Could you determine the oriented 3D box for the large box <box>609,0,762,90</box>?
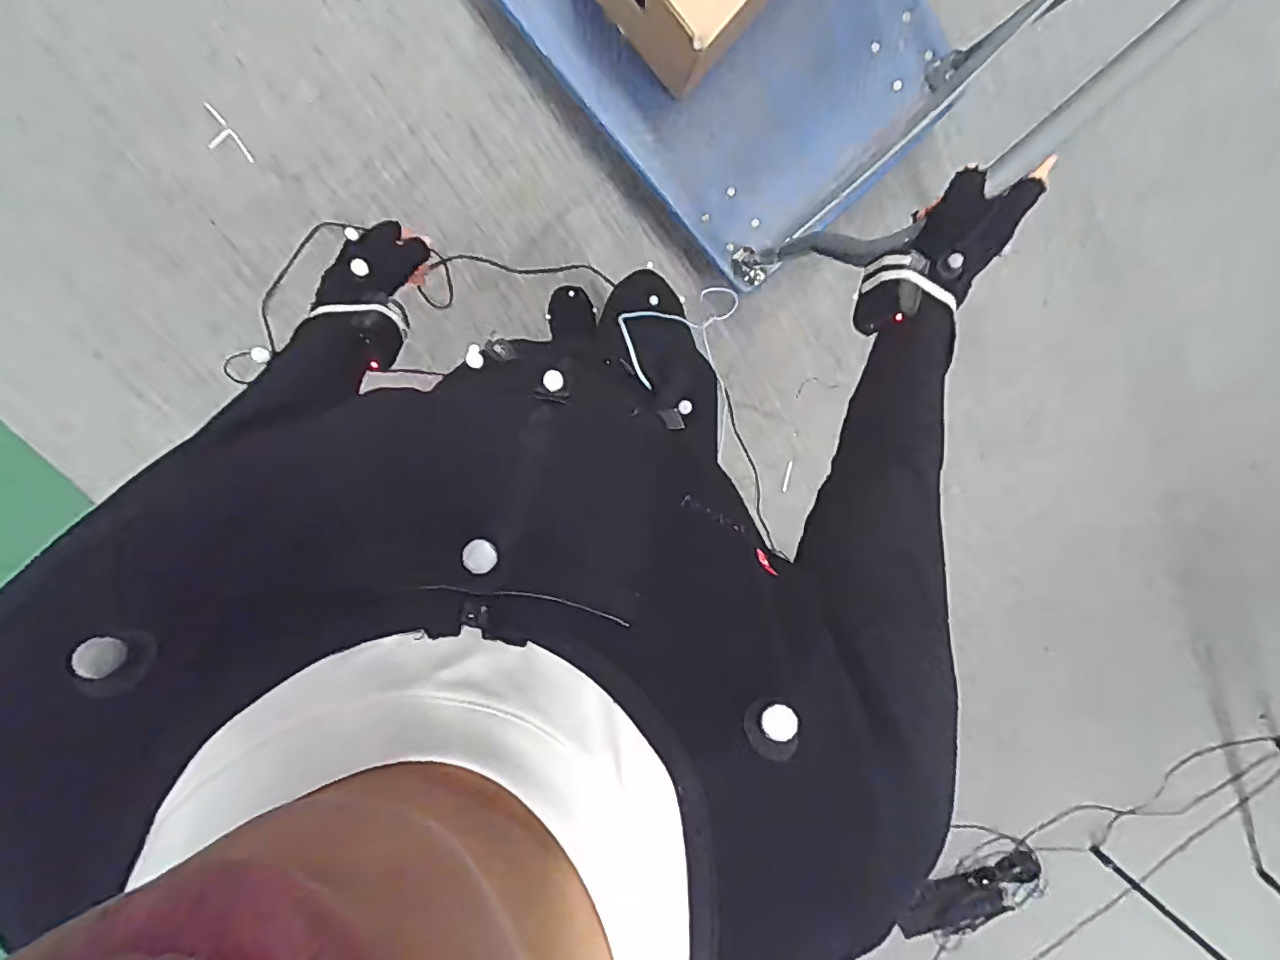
[{"bbox_3d":[0.121,-0.907,0.803,0.320,0.320,0.408,41,107,-17],"label":"large box"}]
